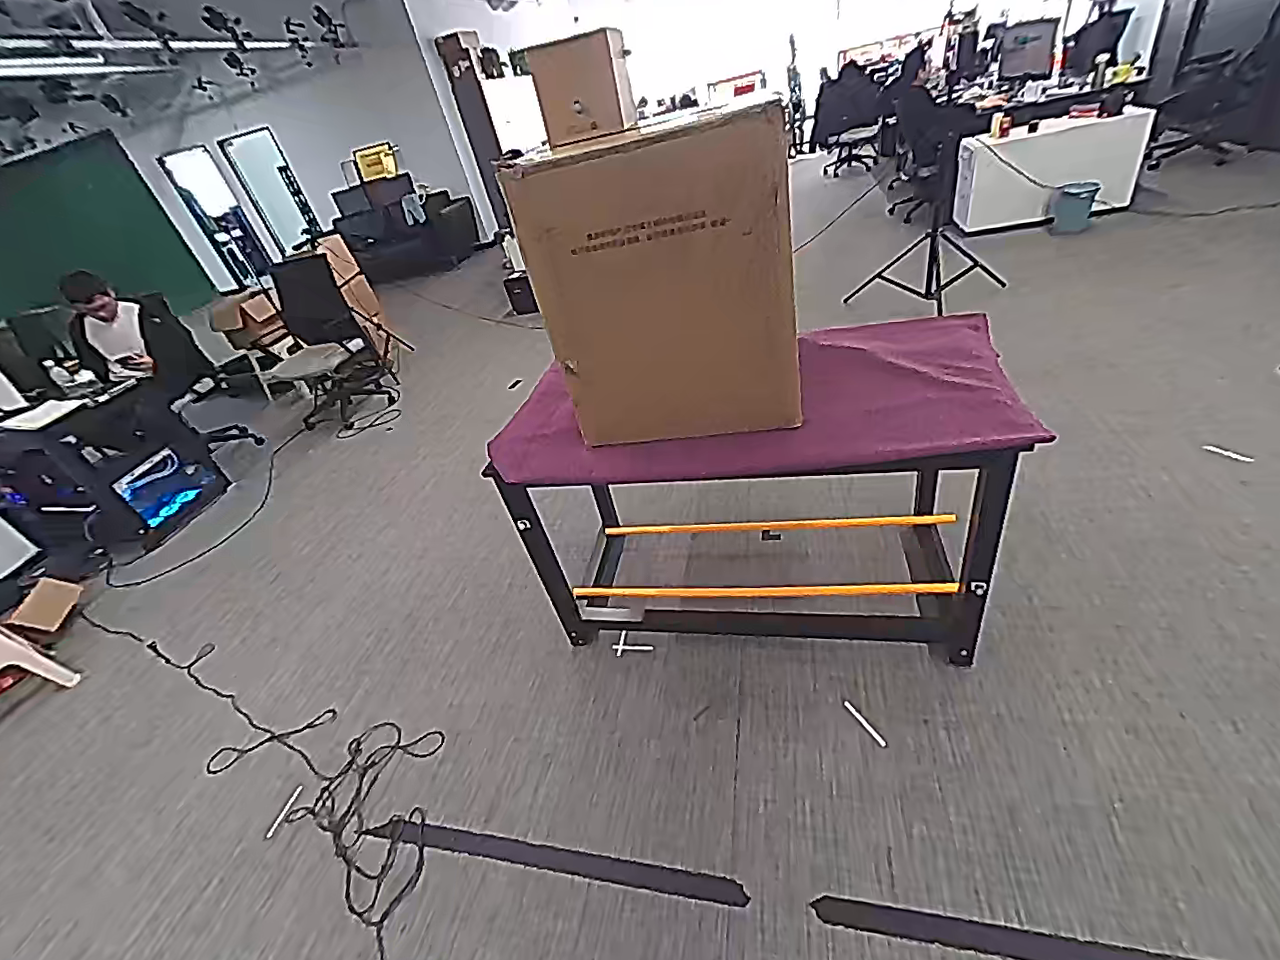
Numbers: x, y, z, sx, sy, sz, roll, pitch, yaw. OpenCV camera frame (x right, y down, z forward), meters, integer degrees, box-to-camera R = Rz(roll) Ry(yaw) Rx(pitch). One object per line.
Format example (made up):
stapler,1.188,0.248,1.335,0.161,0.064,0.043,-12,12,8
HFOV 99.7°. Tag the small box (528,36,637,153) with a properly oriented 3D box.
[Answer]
small box,-0.109,-0.804,1.136,0.168,0.176,0.179,-4,37,15
